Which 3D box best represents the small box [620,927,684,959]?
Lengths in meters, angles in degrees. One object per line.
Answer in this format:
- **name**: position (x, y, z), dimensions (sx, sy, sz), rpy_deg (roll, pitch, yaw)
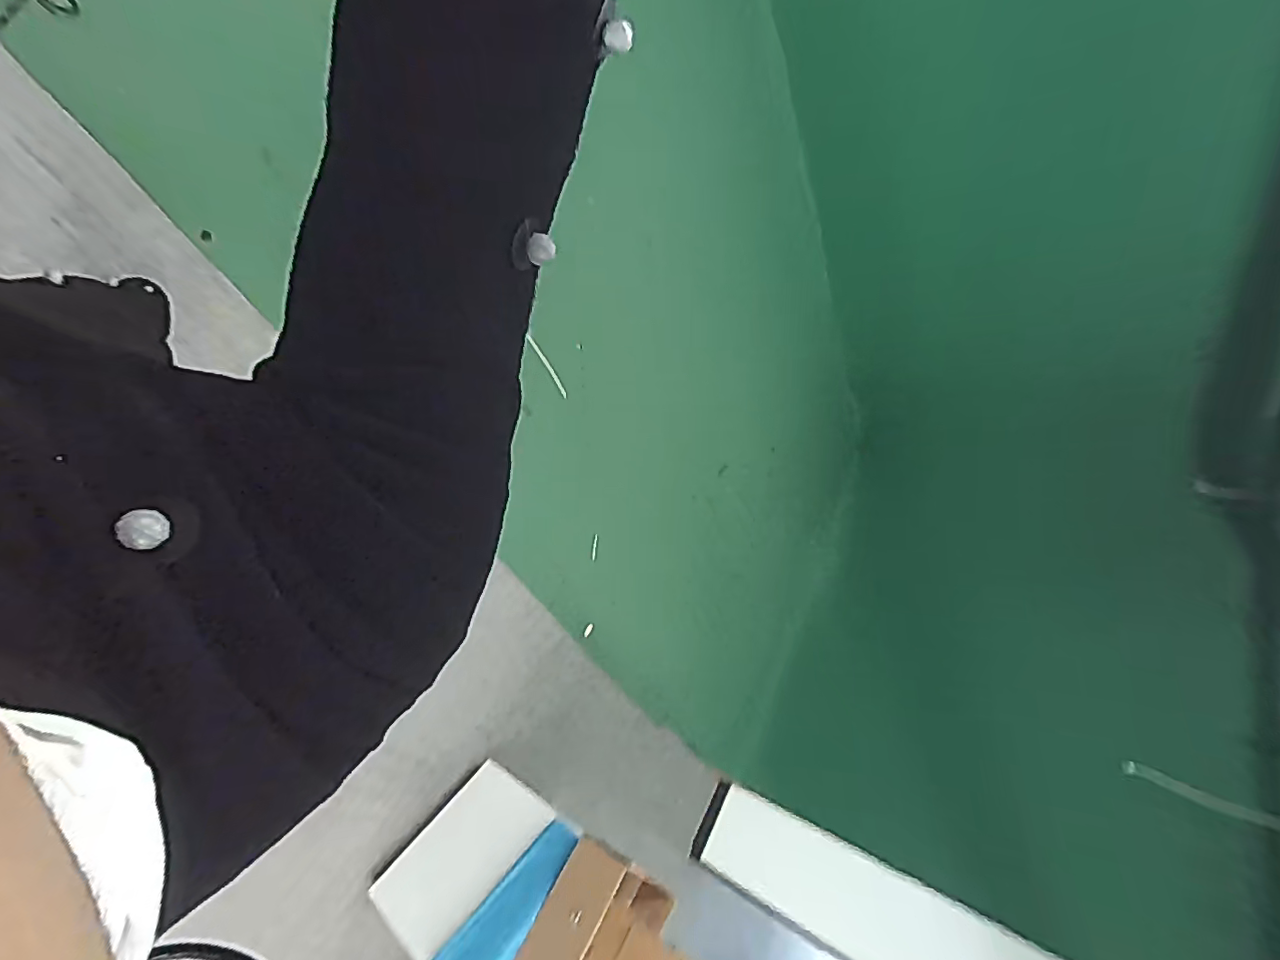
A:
- **small box**: position (0.034, 1.350, 1.444), dimensions (0.179, 0.176, 0.168), rpy_deg (-52, 133, -27)
